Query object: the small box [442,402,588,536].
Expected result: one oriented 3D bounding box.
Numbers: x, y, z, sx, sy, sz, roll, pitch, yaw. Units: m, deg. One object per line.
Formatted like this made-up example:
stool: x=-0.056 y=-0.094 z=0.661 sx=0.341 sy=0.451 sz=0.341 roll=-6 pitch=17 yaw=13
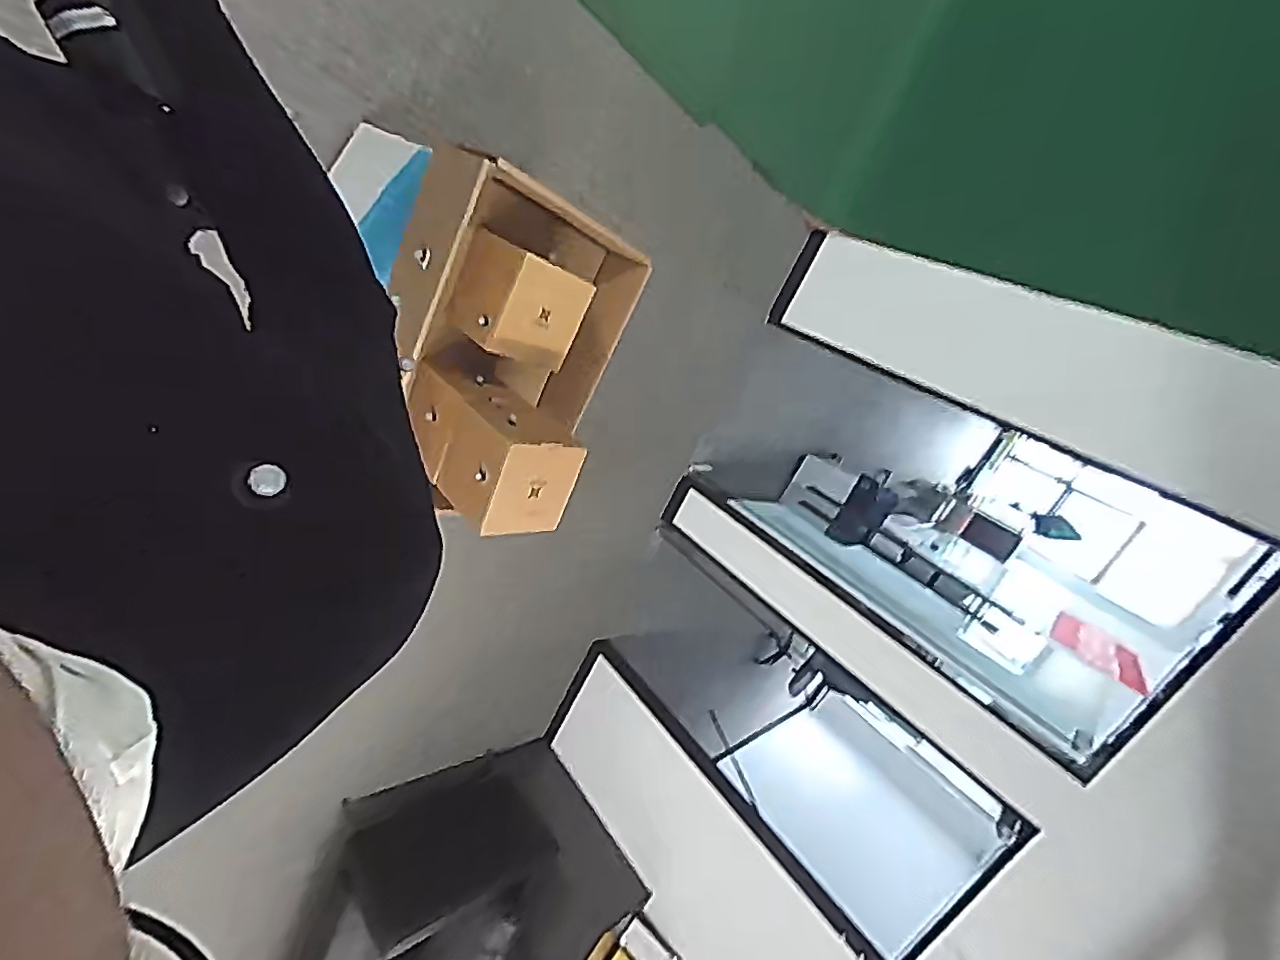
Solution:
small box: x=-0.227 y=-0.023 z=0.961 sx=0.168 sy=0.176 sz=0.179 roll=2 pitch=120 yaw=-49
